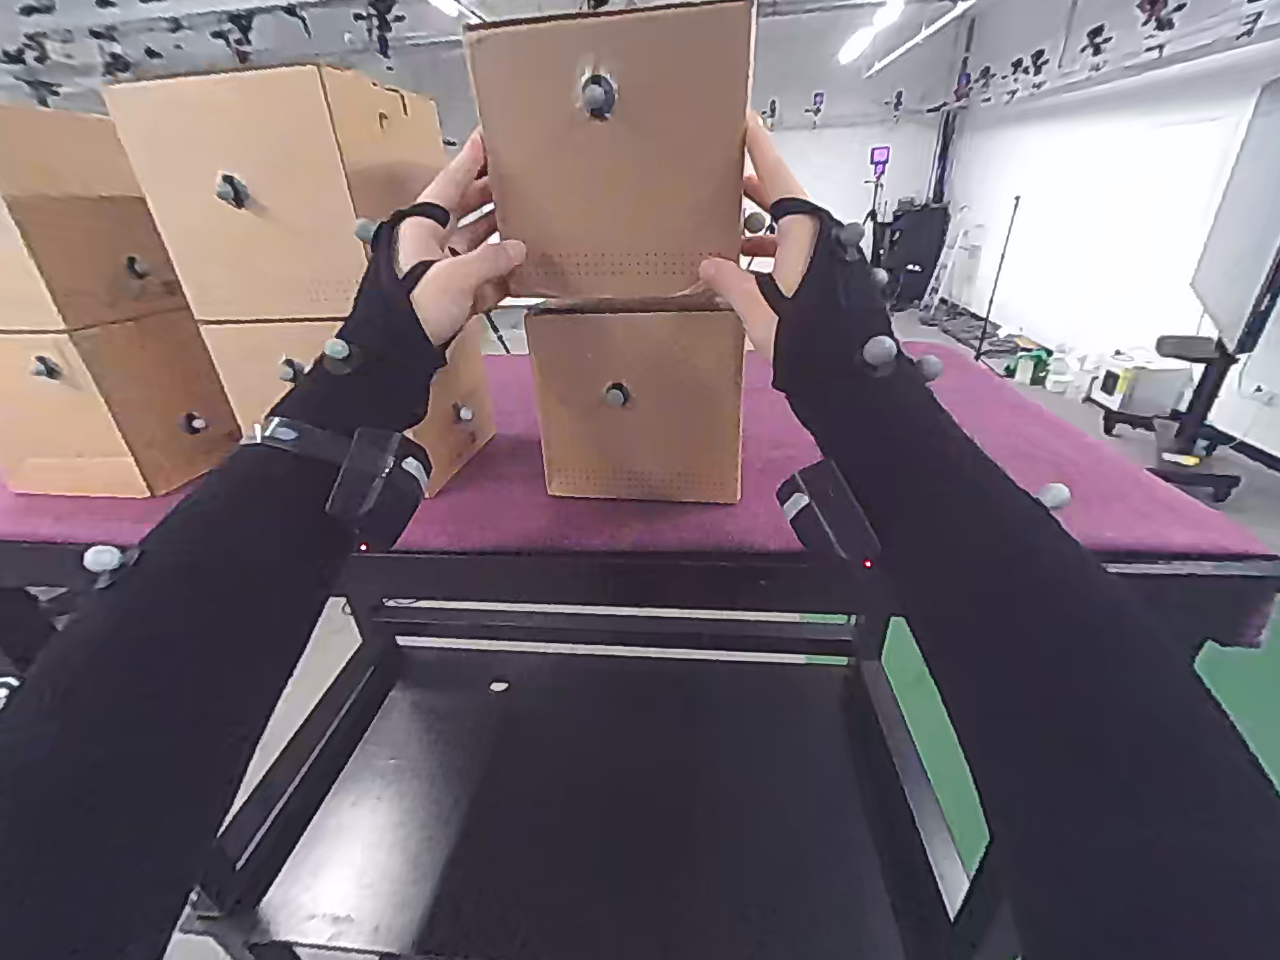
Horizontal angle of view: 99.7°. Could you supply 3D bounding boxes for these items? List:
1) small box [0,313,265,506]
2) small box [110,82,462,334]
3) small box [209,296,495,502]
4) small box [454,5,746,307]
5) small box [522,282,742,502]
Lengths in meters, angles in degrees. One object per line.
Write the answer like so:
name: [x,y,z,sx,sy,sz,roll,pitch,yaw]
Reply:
small box: [-0.555,-0.081,0.592,0.179,0.176,0.168,2,27,8]
small box: [-0.284,-0.233,0.485,0.179,0.176,0.168,-1,27,10]
small box: [-0.274,-0.087,0.560,0.179,0.176,0.168,0,28,10]
small box: [-0.011,-0.242,0.424,0.179,0.176,0.168,3,36,11]
small box: [0.008,-0.088,0.522,0.179,0.176,0.168,0,28,10]
